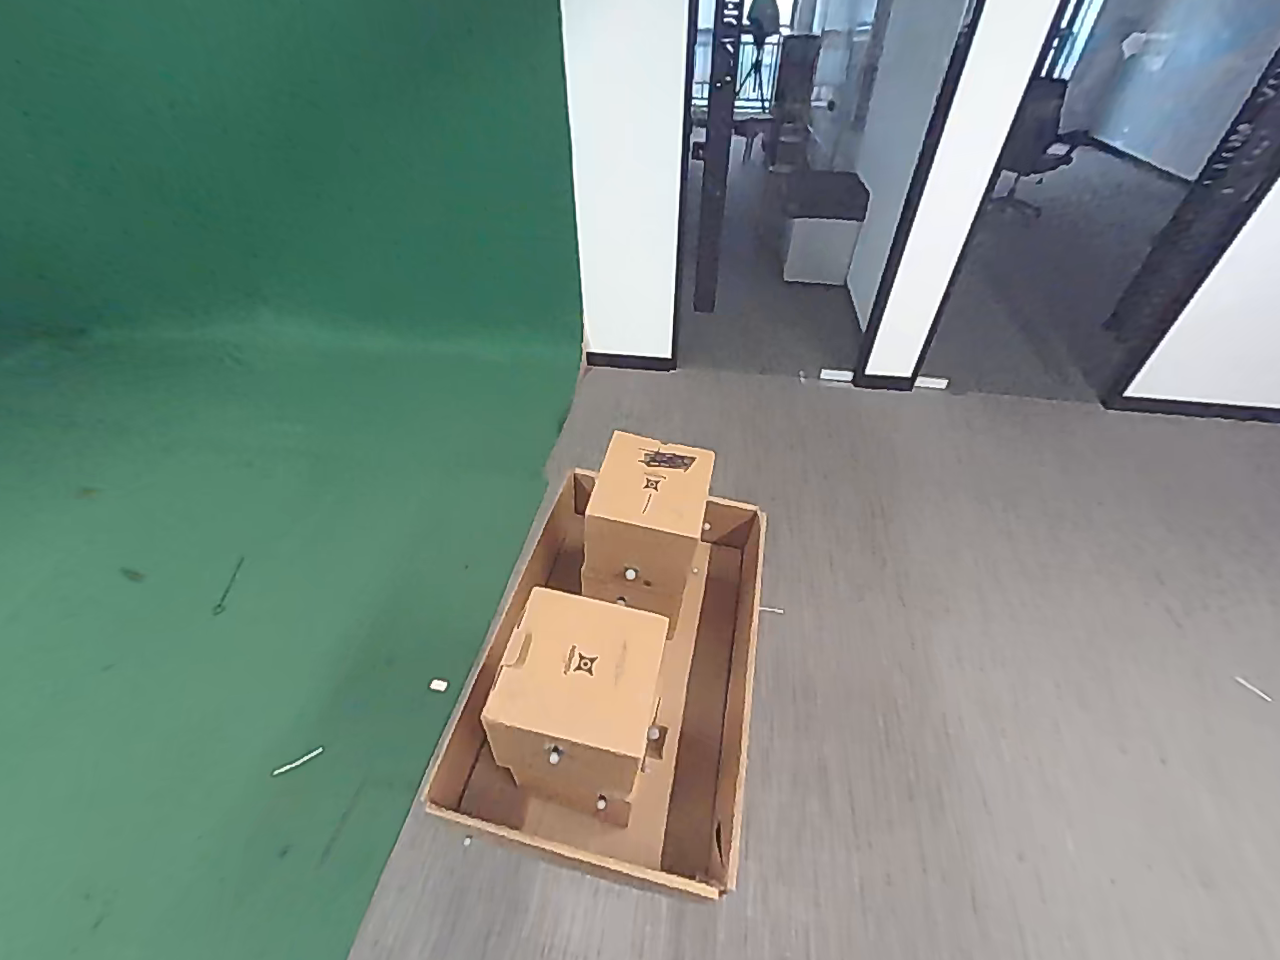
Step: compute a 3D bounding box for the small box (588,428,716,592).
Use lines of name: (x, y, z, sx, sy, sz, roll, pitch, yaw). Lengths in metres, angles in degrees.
small box: (0.015, 0.049, 0.862, 0.168, 0.176, 0.179, 12, 50, 5)

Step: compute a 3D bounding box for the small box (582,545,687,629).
small box: (0.001, 0.153, 0.989, 0.179, 0.176, 0.168, 13, 50, 6)

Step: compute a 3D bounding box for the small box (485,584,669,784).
small box: (-0.071, 0.258, 0.674, 0.179, 0.176, 0.168, 12, 49, 3)

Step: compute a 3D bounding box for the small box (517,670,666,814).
small box: (-0.073, 0.365, 0.796, 0.179, 0.176, 0.168, 15, 48, 7)
